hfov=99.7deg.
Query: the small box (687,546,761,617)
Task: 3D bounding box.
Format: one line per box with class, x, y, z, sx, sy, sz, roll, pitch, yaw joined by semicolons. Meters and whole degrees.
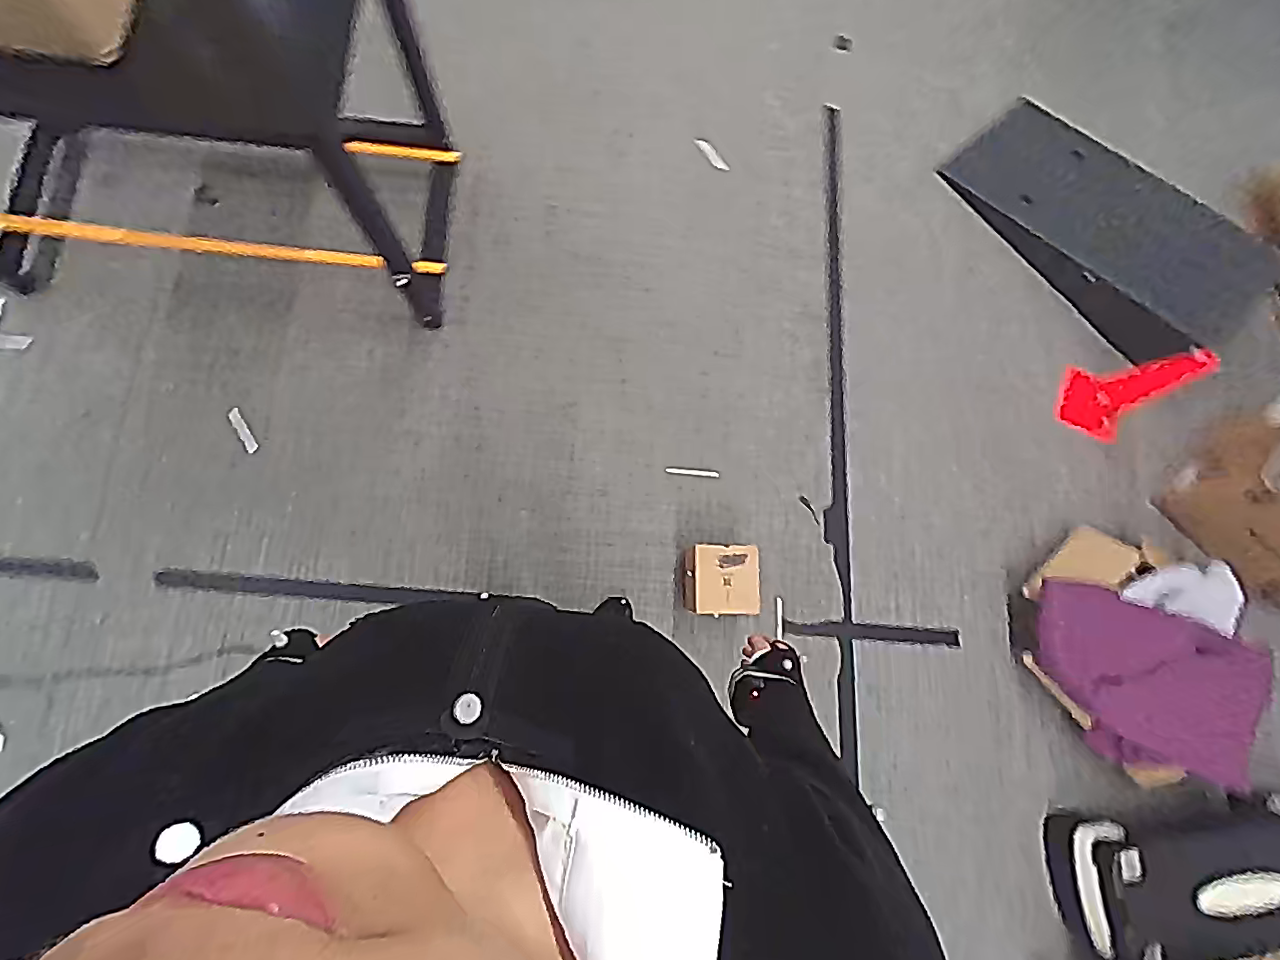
small box;0.219;0.272;1.445;0.168;0.176;0.179;2;79;-4
